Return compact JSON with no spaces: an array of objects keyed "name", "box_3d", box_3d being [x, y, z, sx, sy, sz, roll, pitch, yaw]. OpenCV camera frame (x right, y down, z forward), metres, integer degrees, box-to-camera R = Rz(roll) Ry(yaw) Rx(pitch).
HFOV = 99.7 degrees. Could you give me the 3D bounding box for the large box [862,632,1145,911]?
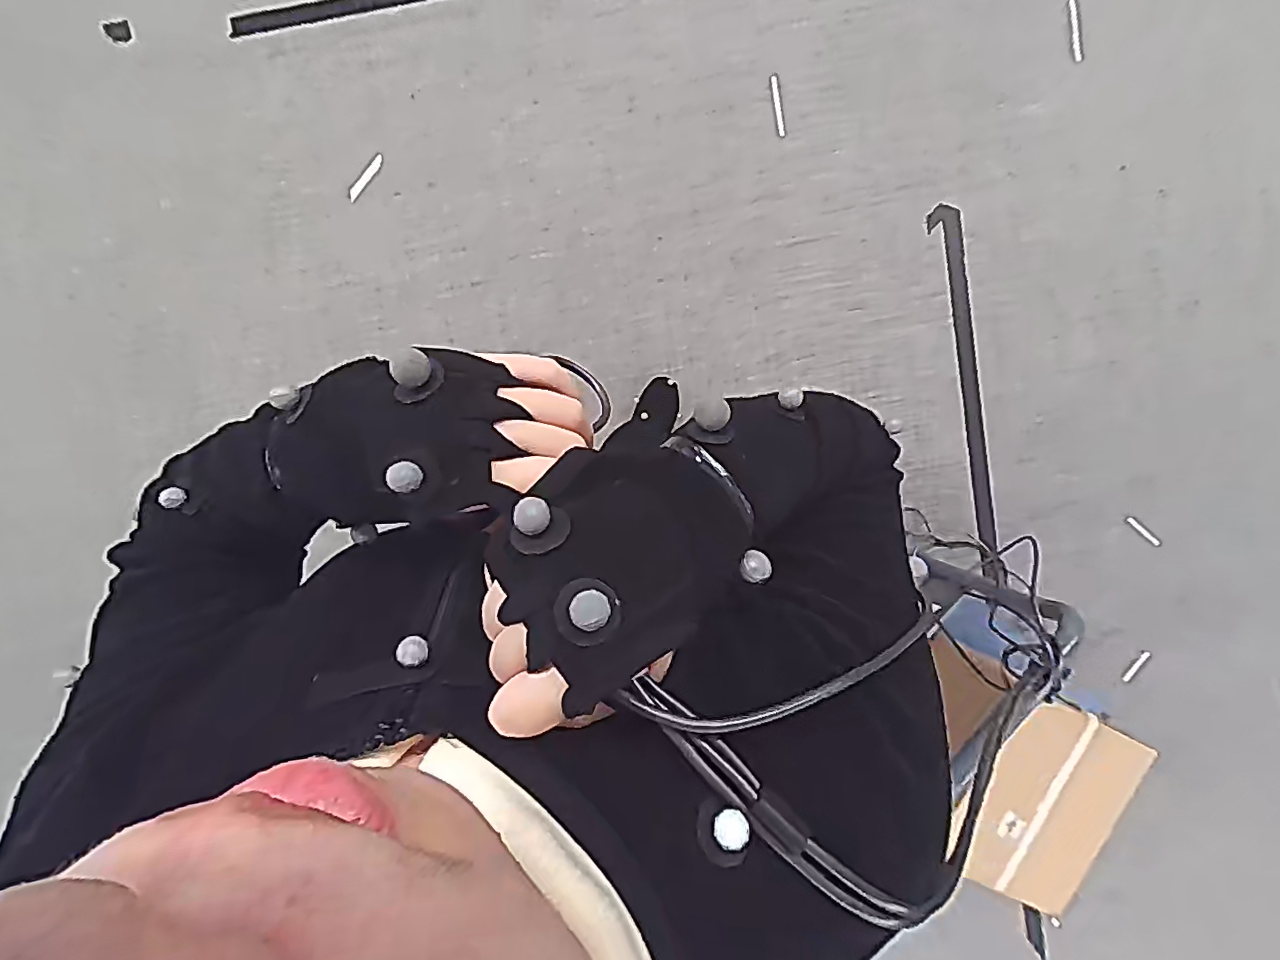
[{"name":"large box","box_3d":[0.789,0.631,1.233,0.320,0.320,0.408,26,95,-3]}]
